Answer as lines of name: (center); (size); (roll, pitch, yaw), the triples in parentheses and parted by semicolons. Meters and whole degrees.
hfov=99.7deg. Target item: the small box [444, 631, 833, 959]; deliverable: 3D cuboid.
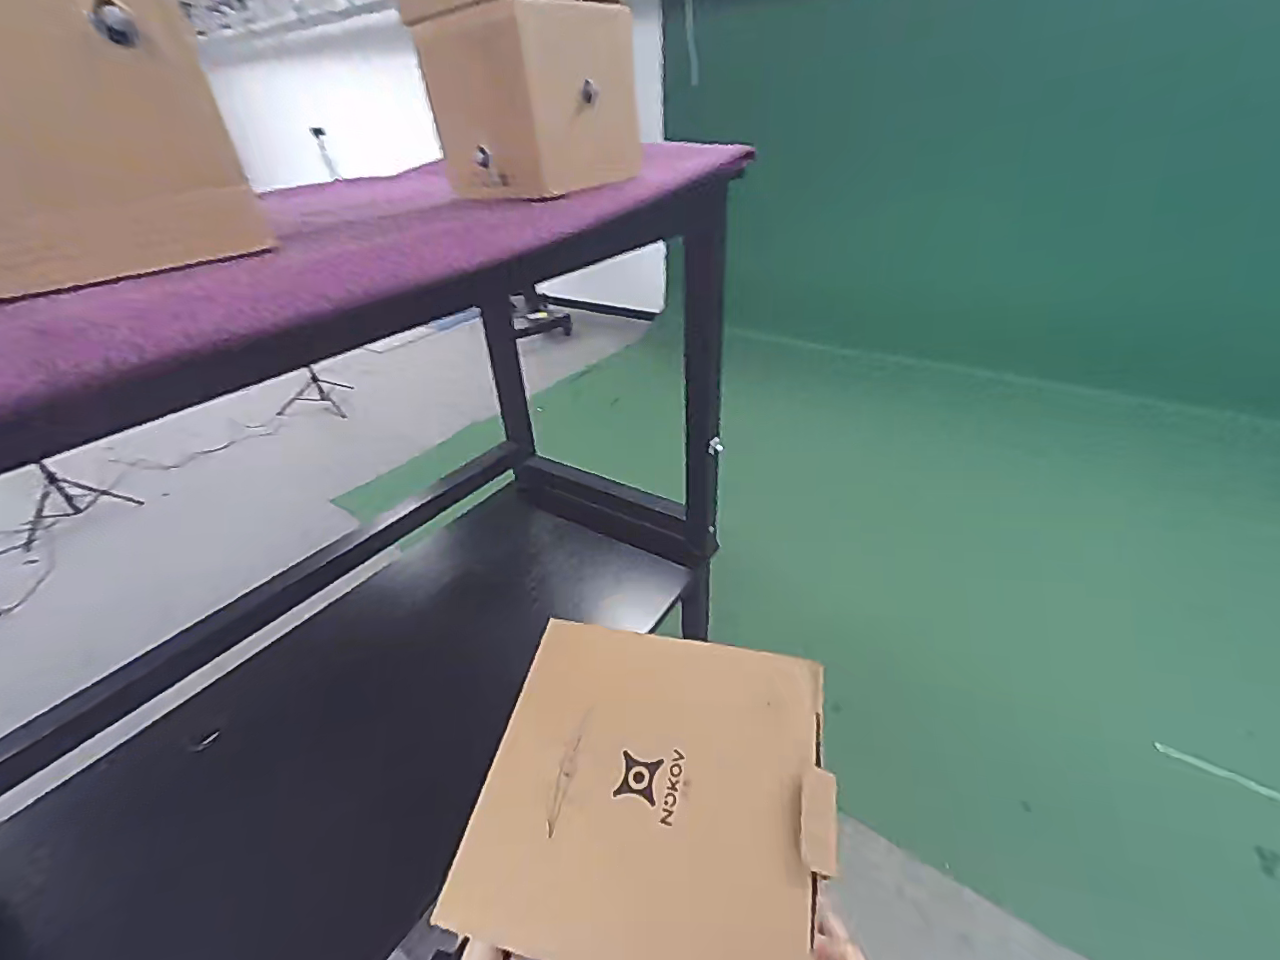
small box: (0.021, 0.221, 0.339); (0.179, 0.176, 0.168); (3, 45, 17)

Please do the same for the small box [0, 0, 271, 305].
small box: (-0.399, -0.224, 0.359); (0.168, 0.176, 0.179); (19, 40, 31)

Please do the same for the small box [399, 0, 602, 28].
small box: (-0.141, -0.559, 0.521); (0.179, 0.176, 0.168); (19, 42, 32)
